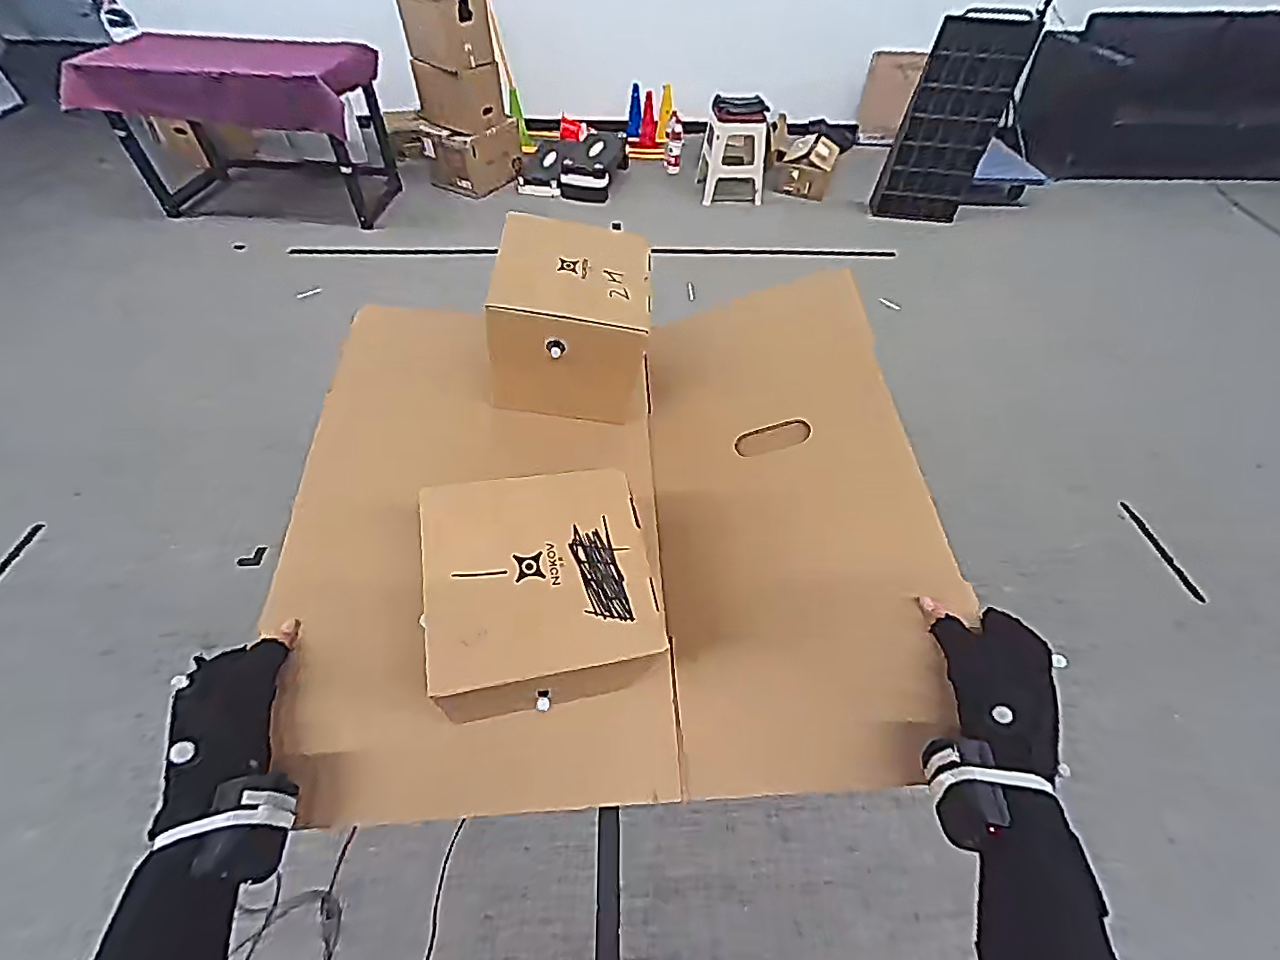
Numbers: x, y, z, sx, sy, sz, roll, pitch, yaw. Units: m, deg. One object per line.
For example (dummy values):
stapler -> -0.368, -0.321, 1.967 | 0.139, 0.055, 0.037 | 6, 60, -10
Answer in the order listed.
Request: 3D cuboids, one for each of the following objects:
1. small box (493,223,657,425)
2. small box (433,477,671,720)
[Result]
small box -> -0.082, -0.188, 0.686 | 0.179, 0.176, 0.168 | 8, 58, -9
small box -> -0.089, 0.114, 0.503 | 0.179, 0.176, 0.168 | -6, 61, -15
